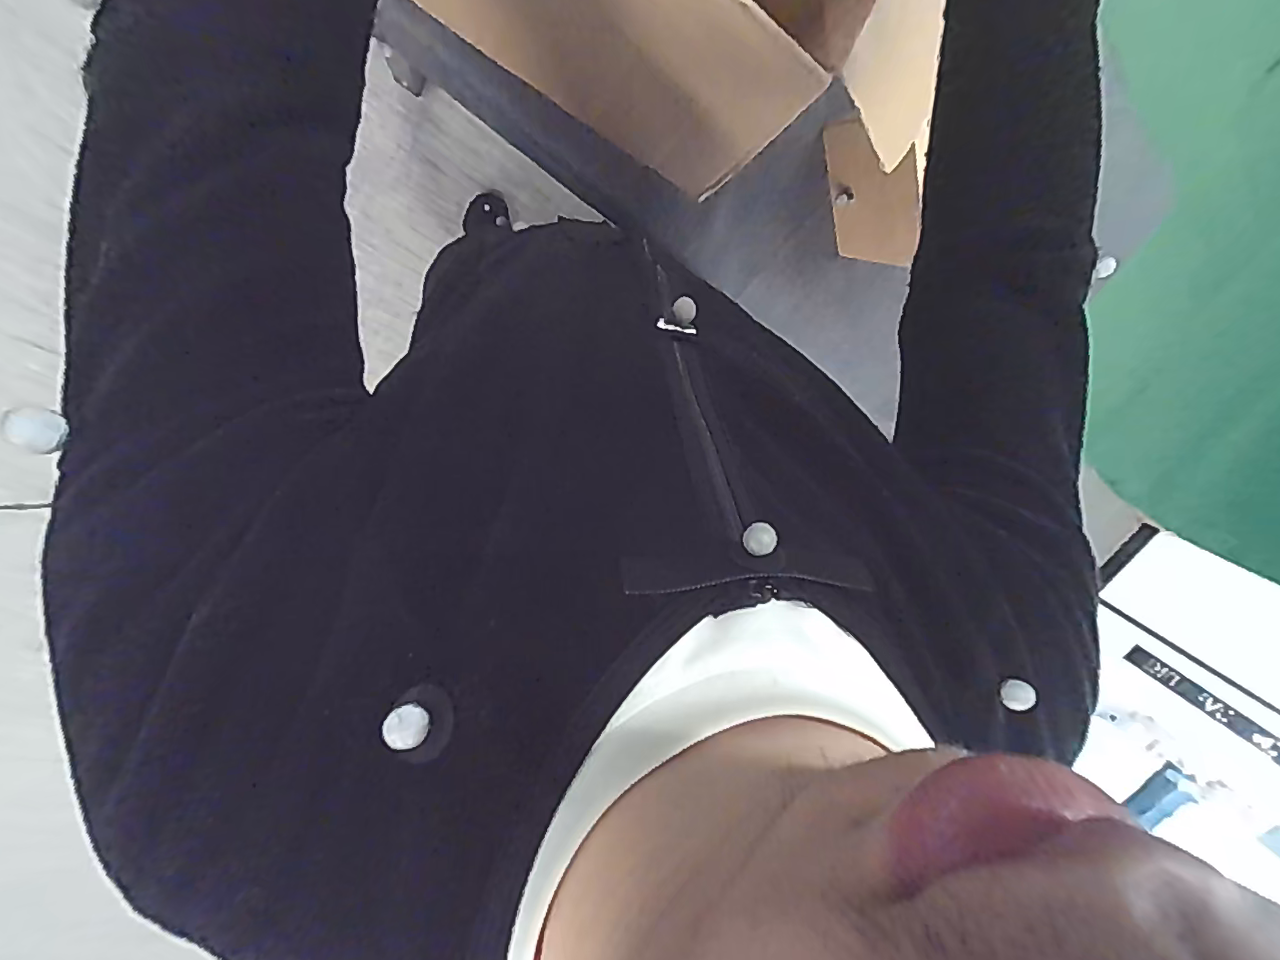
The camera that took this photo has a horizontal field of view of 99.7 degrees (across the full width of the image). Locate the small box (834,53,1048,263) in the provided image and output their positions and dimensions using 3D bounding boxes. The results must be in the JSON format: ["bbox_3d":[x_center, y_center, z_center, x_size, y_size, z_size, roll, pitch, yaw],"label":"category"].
[{"bbox_3d":[0.373,-0.408,0.697,0.168,0.176,0.179,-24,123,-3],"label":"small box"}]
